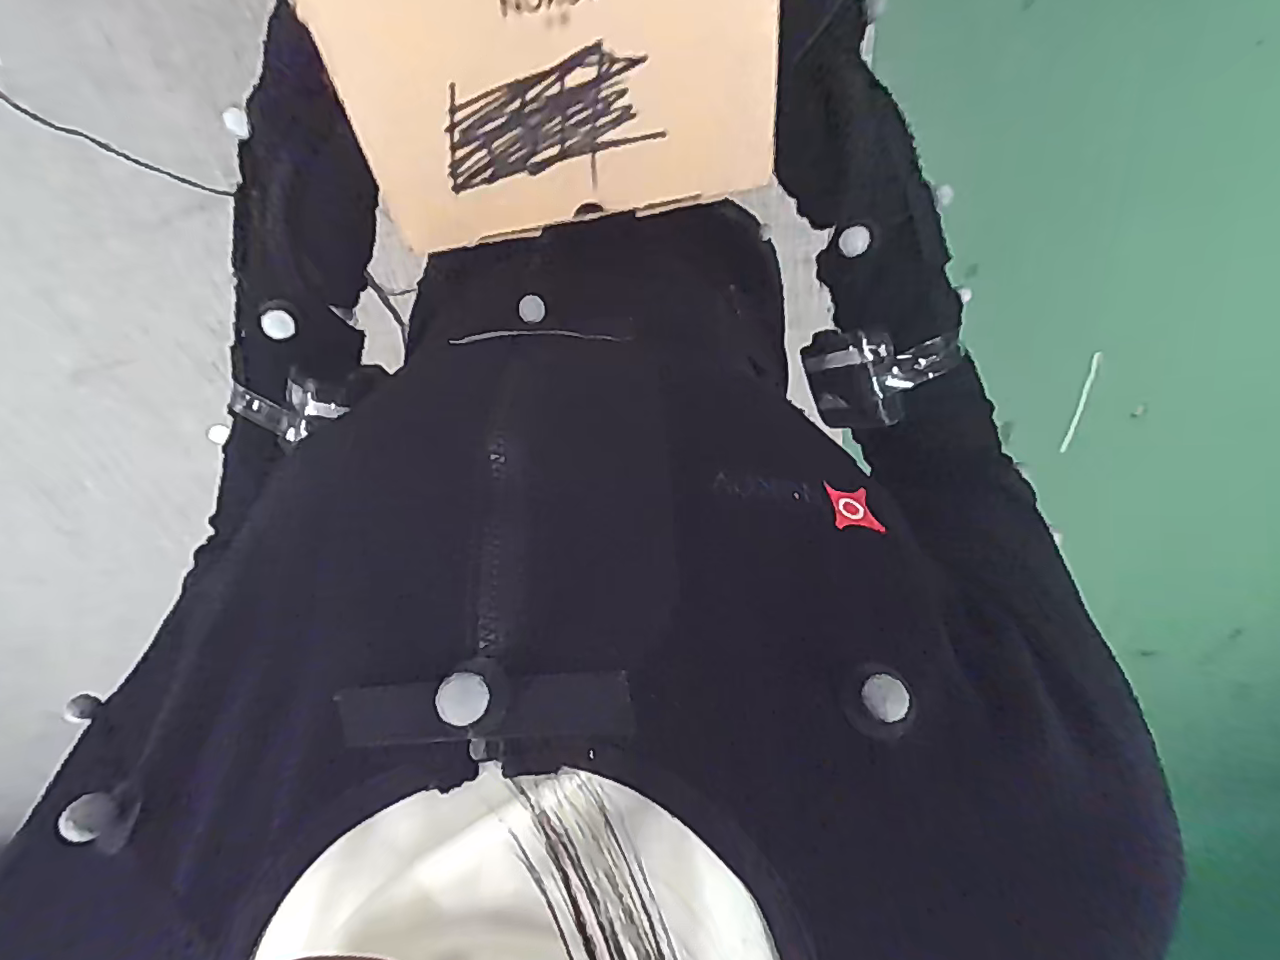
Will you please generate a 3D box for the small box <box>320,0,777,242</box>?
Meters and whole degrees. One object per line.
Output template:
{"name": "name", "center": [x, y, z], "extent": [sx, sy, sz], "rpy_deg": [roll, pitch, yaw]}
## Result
{"name": "small box", "center": [-0.041, -0.237, 0.242], "extent": [0.168, 0.176, 0.179], "rpy_deg": [-10, 137, -1]}
